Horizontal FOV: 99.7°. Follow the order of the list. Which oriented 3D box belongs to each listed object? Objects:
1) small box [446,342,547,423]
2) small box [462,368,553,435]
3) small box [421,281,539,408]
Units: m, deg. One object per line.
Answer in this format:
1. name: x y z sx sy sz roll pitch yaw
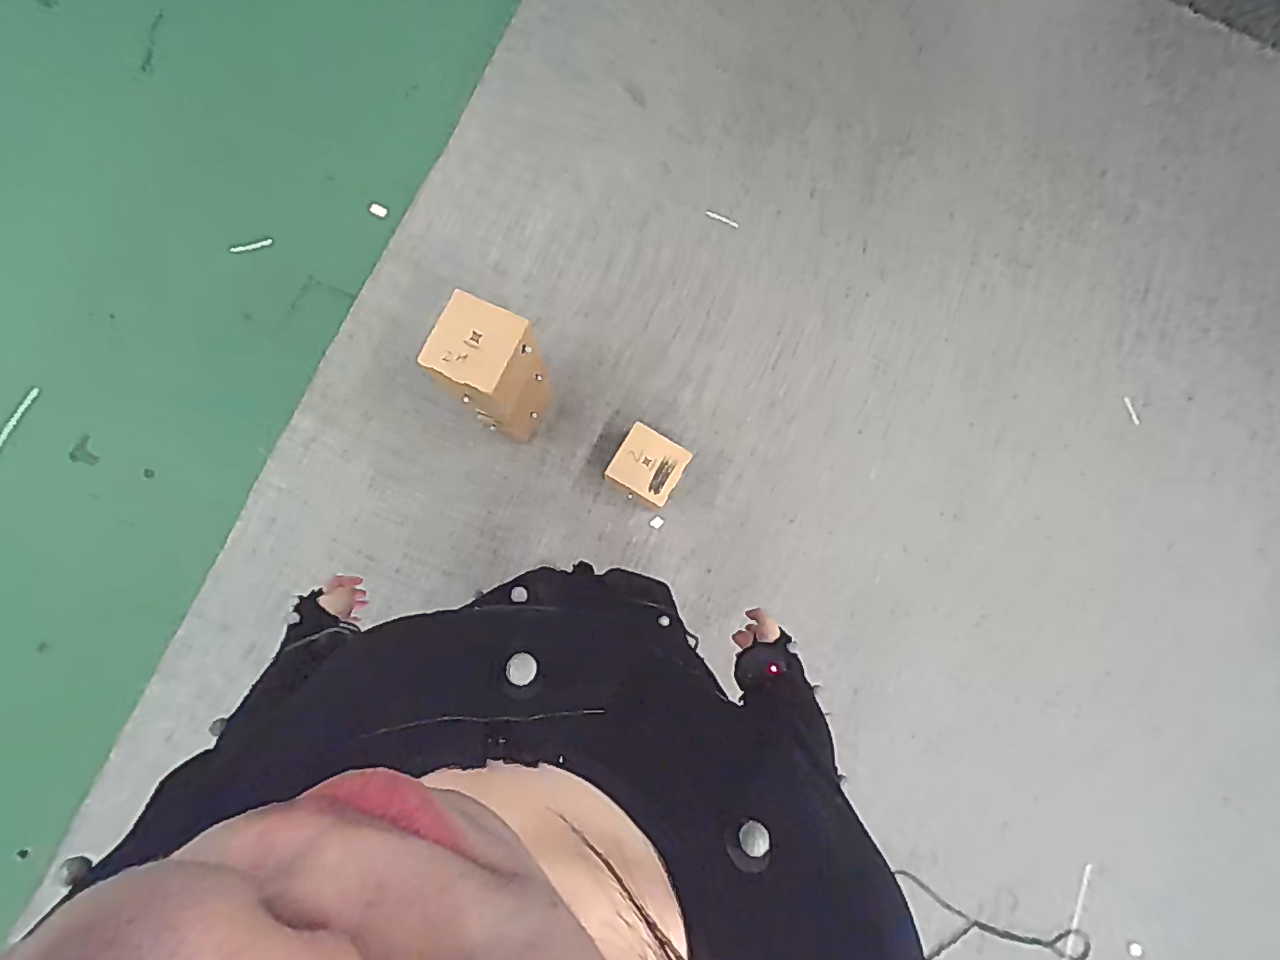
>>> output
1. small box: -0.336 -0.260 1.307 0.168 0.176 0.179 24 83 1
2. small box: -0.348 -0.242 1.468 0.168 0.176 0.179 28 83 0
3. small box: -0.326 -0.277 1.143 0.168 0.176 0.179 25 82 1
